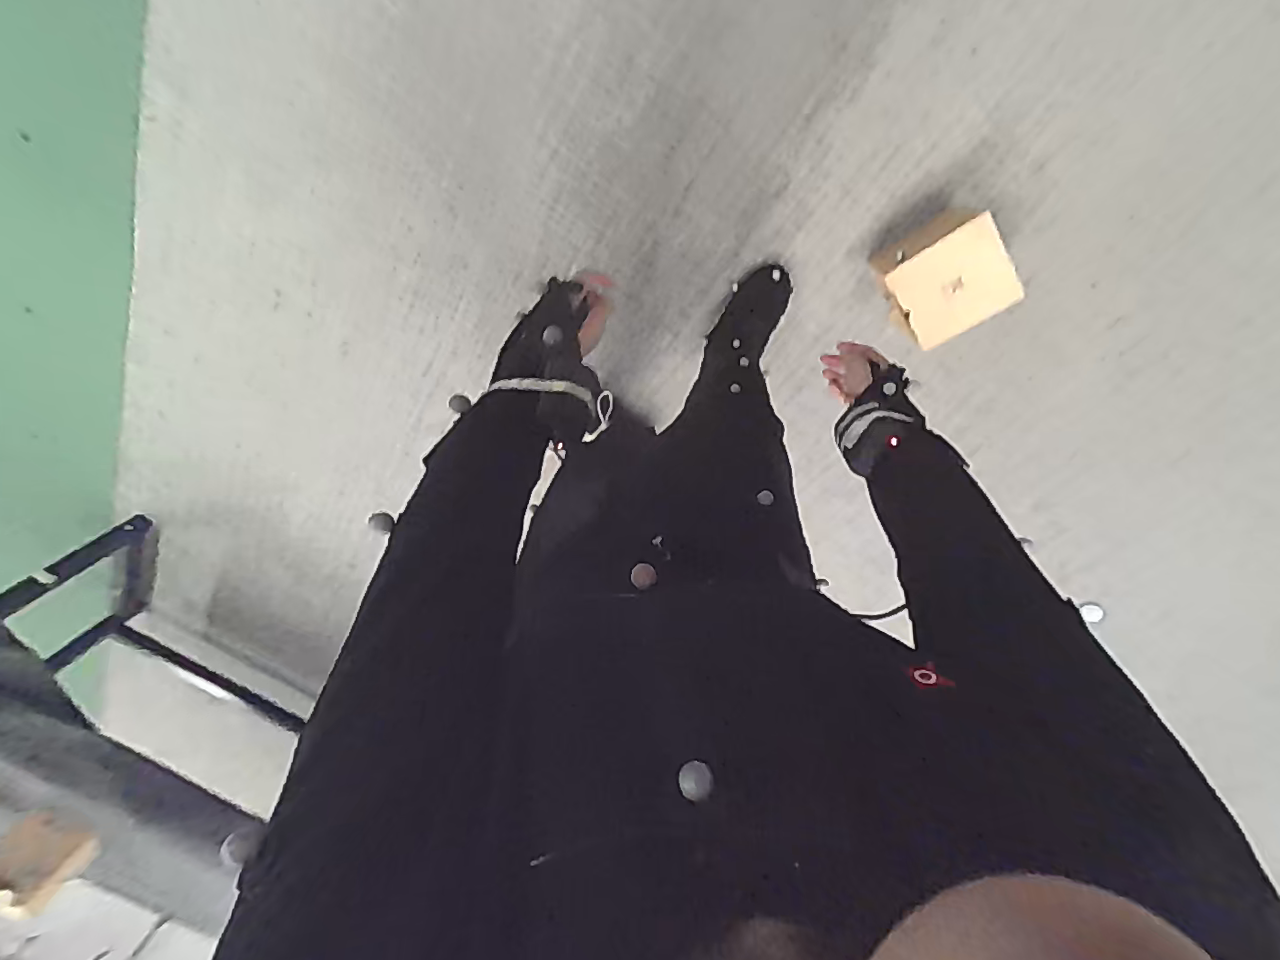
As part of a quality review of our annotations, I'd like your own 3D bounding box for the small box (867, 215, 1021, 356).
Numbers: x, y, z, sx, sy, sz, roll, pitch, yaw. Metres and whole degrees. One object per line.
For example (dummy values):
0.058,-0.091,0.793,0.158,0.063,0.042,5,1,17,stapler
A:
0.549,-0.364,0.999,0.179,0.176,0.168,-30,110,25,small box
